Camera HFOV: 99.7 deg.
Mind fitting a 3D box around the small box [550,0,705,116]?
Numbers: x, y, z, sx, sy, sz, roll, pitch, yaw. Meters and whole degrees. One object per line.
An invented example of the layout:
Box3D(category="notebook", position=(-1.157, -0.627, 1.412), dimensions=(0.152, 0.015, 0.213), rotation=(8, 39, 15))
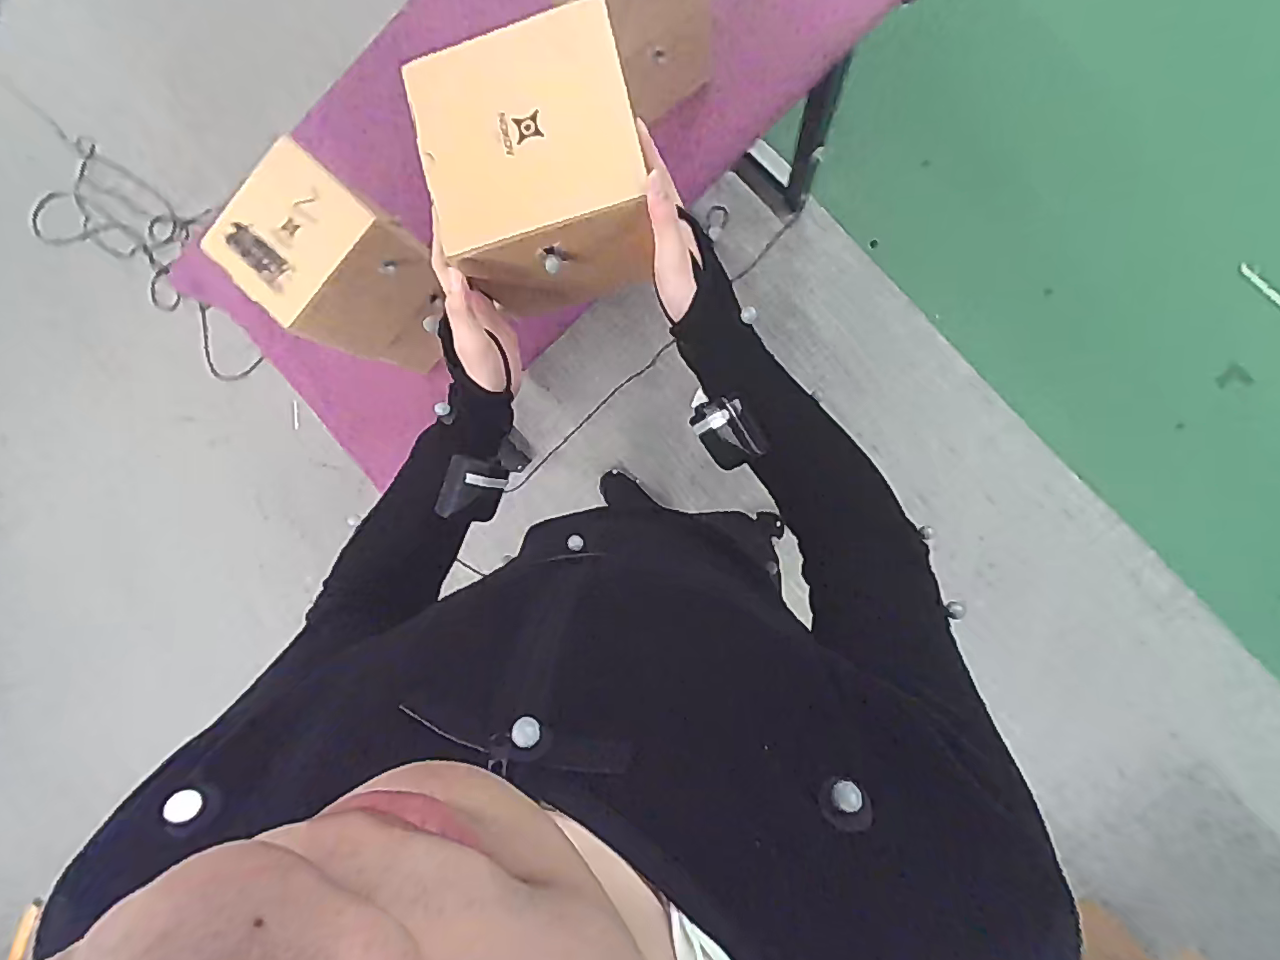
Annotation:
Box3D(category="small box", position=(-0.013, -0.685, 0.826), dimensions=(0.179, 0.176, 0.168), rotation=(-32, 86, 7))

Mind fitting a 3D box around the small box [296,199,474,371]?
Box3D(category="small box", position=(-0.399, -0.306, 0.887), dimensions=(0.168, 0.176, 0.179), rotation=(43, 96, 6))

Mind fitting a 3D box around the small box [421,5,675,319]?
Box3D(category="small box", position=(-0.067, -0.270, 0.504), dimensions=(0.179, 0.176, 0.168), rotation=(-13, 88, 8))
